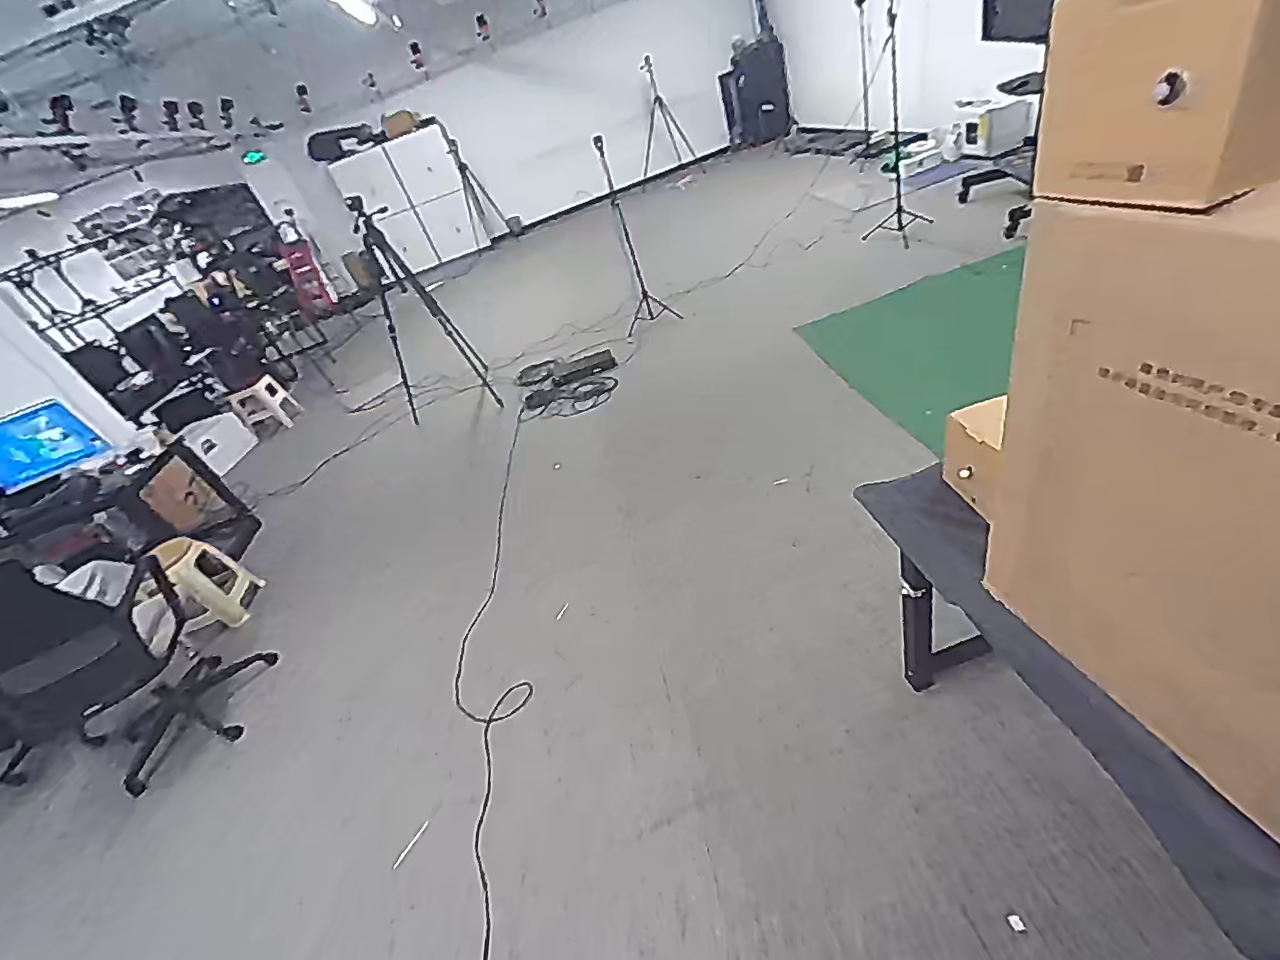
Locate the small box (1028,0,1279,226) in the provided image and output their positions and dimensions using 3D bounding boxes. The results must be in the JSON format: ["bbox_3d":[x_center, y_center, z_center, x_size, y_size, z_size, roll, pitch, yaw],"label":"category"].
[{"bbox_3d":[0.478,-0.340,0.470,0.179,0.176,0.168,-22,35,-2],"label":"small box"}]
